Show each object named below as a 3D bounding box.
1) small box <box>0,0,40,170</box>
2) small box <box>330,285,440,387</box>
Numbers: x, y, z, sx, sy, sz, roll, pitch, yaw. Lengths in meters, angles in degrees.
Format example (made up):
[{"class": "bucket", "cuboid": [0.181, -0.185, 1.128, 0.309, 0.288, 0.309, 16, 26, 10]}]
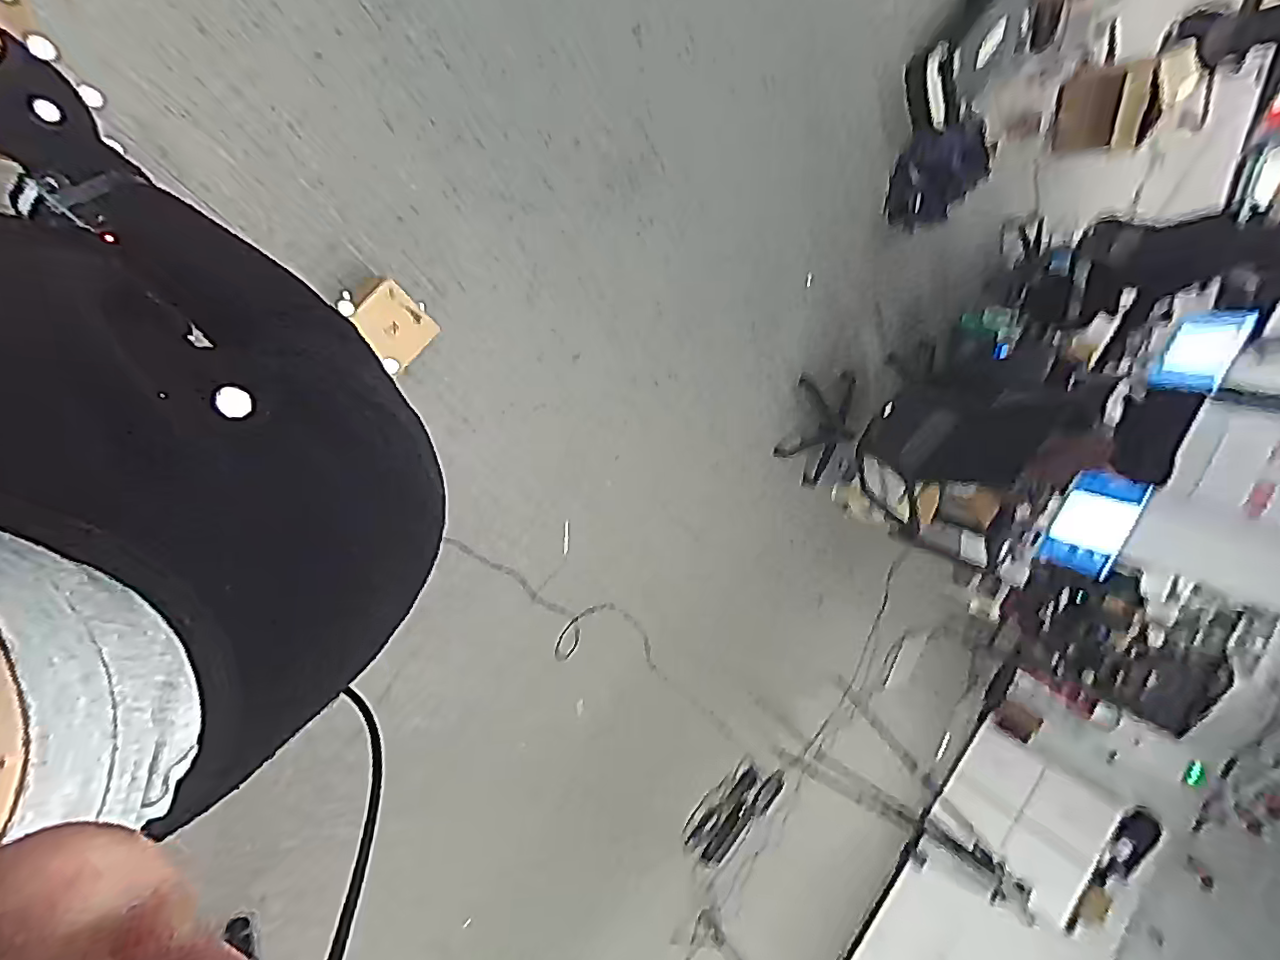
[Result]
[{"class": "small box", "cuboid": [-0.618, -0.380, 0.420, 0.168, 0.176, 0.179, -8, 90, -36]}, {"class": "small box", "cuboid": [-0.641, -0.362, 1.347, 0.179, 0.176, 0.168, -52, 132, -11]}]
